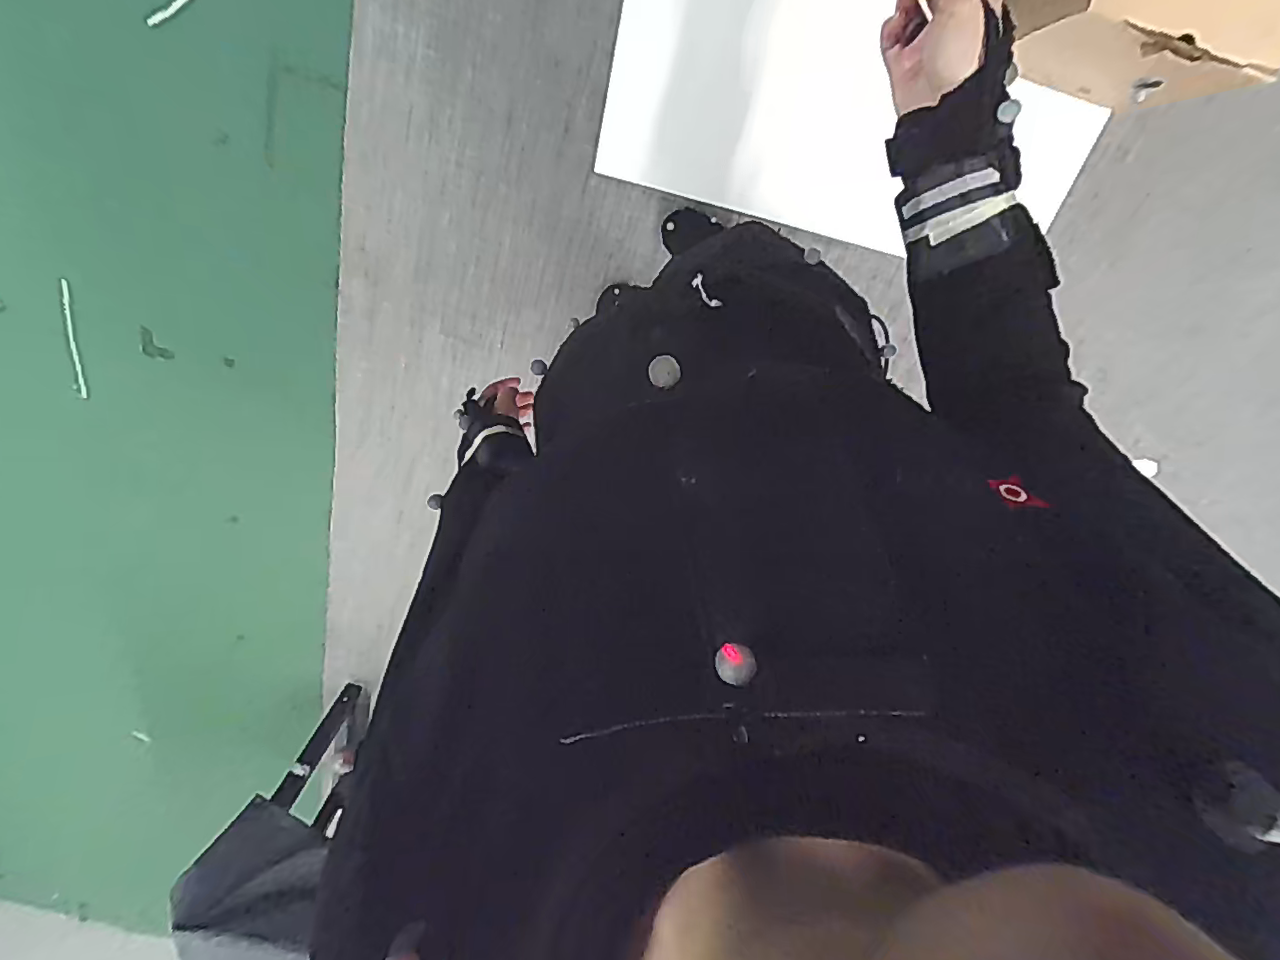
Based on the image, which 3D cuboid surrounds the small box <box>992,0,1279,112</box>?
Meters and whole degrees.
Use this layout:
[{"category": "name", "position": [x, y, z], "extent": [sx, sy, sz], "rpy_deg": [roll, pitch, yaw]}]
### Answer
[{"category": "small box", "position": [0.428, -0.425, 0.434], "extent": [0.168, 0.176, 0.179], "rpy_deg": [15, 116, -4]}]
